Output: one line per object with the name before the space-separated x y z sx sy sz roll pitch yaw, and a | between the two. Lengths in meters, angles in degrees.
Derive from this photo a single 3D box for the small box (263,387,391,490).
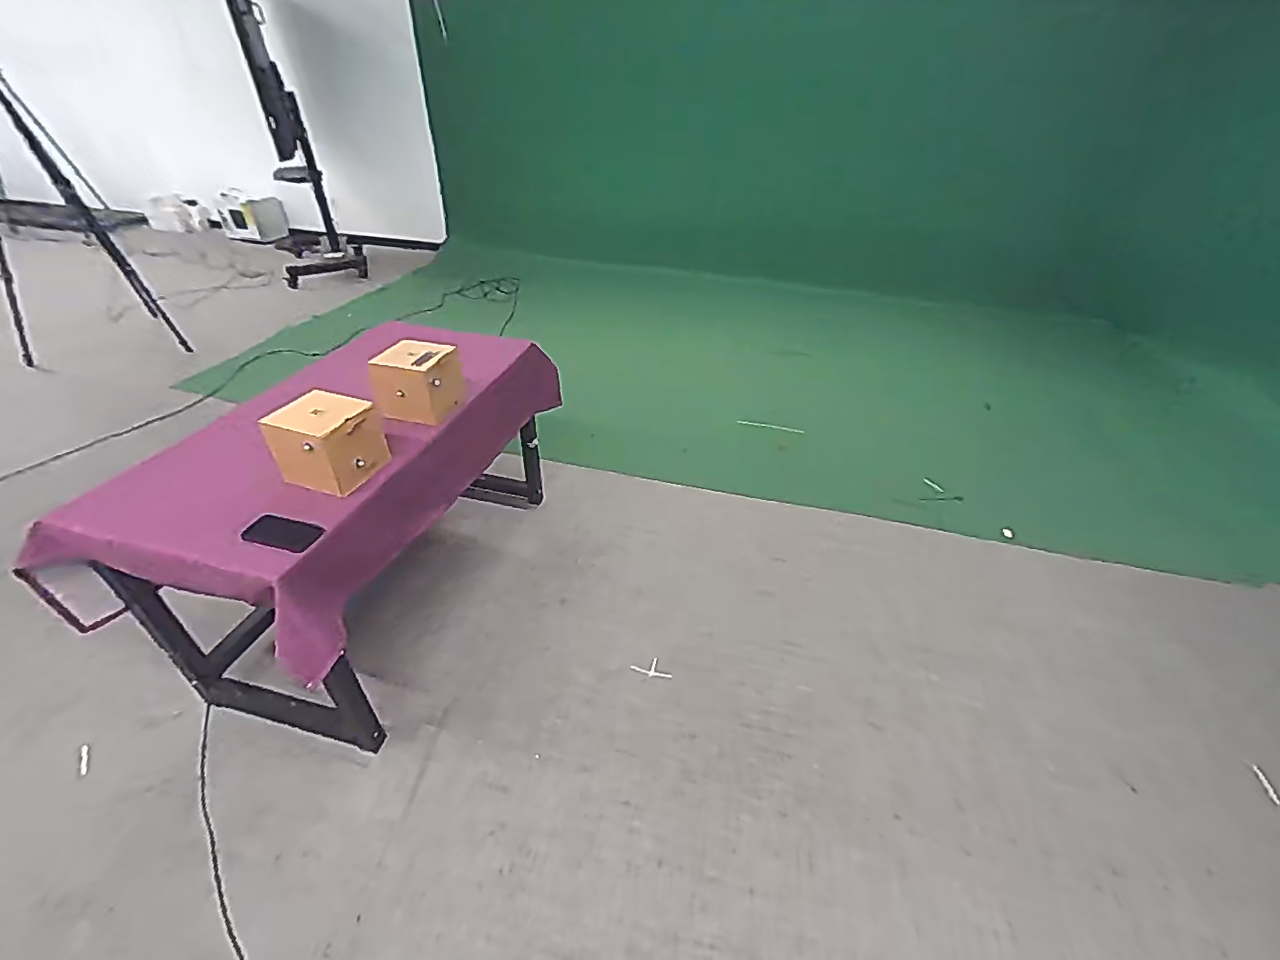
small box | -0.723 -0.097 1.267 0.179 0.176 0.168 14 38 14
